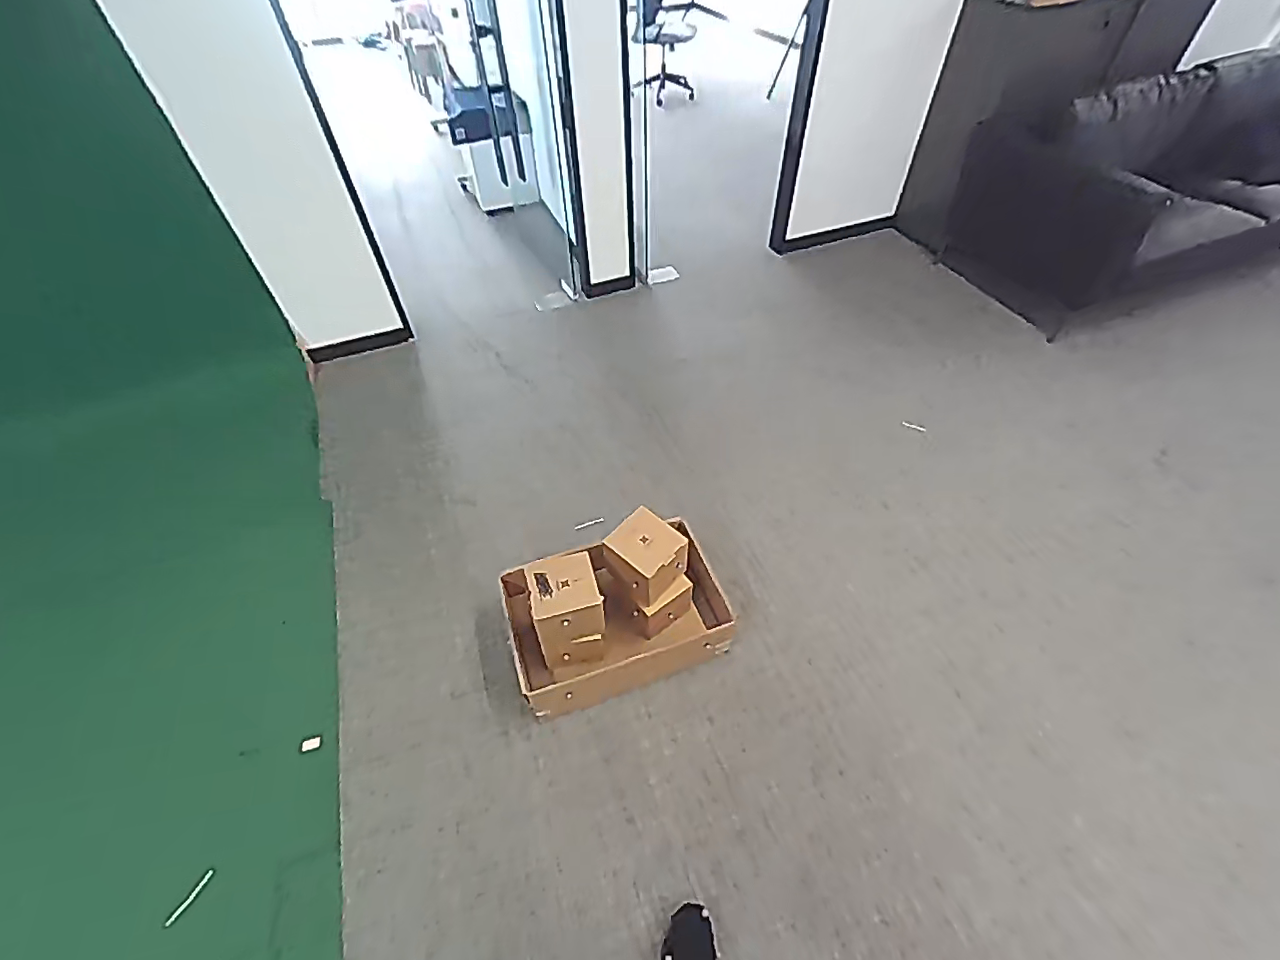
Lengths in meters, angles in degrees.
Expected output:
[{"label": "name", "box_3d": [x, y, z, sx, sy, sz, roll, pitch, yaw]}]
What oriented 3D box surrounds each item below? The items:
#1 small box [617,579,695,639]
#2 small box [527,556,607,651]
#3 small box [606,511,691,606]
[{"label": "small box", "box_3d": [0.048, 0.354, 1.630, 0.168, 0.176, 0.179, -30, 55, -21]}, {"label": "small box", "box_3d": [-0.191, 0.332, 1.440, 0.179, 0.176, 0.168, -12, 49, -10]}, {"label": "small box", "box_3d": [0.026, 0.229, 1.523, 0.179, 0.176, 0.168, 35, 59, 27]}]
